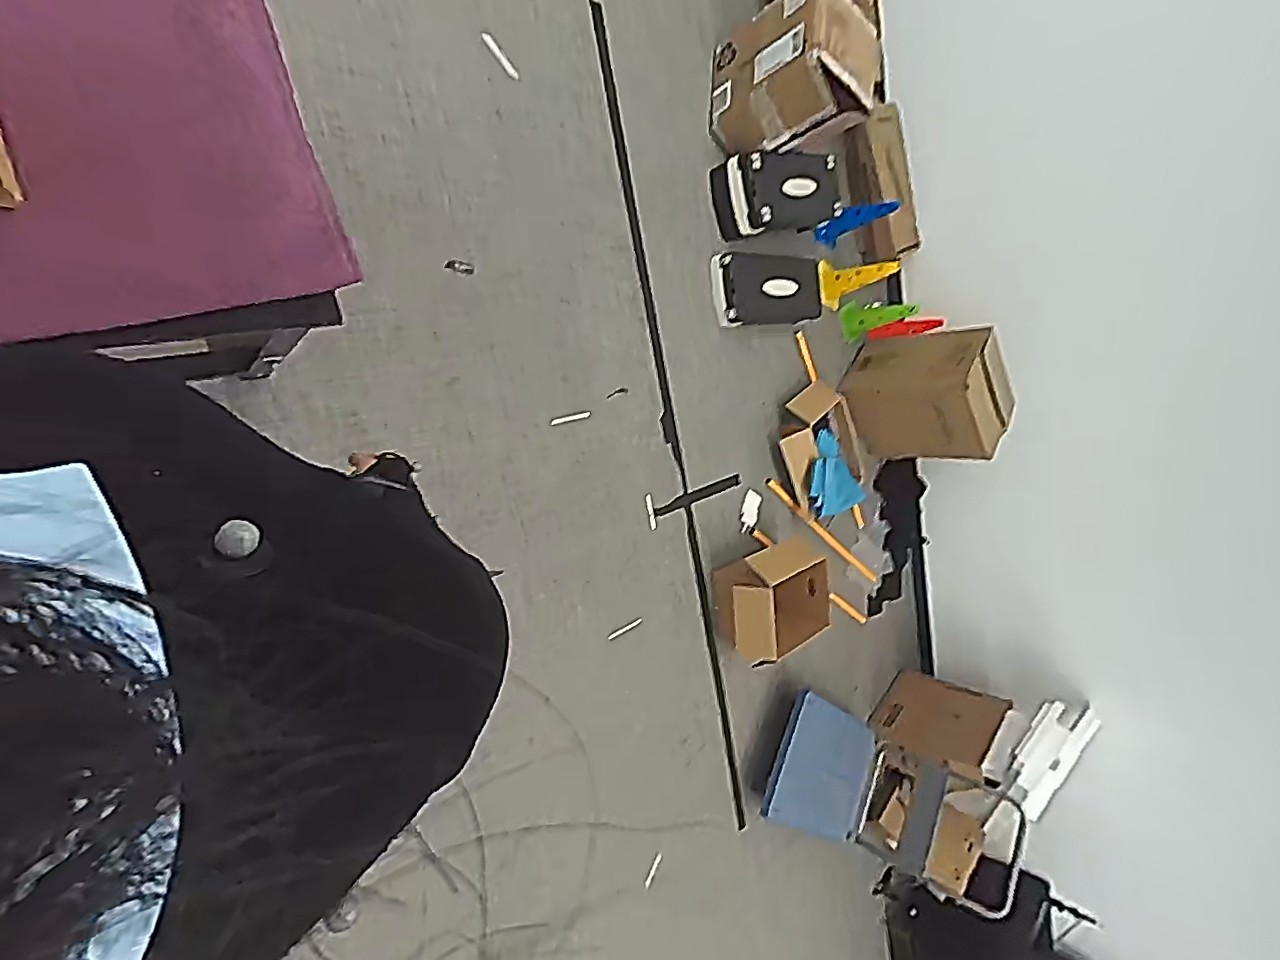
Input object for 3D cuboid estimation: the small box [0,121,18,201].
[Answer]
[{"bbox_3d":[-0.619,-0.334,0.398,0.168,0.176,0.179,-17,102,-39],"label":"small box"}]
